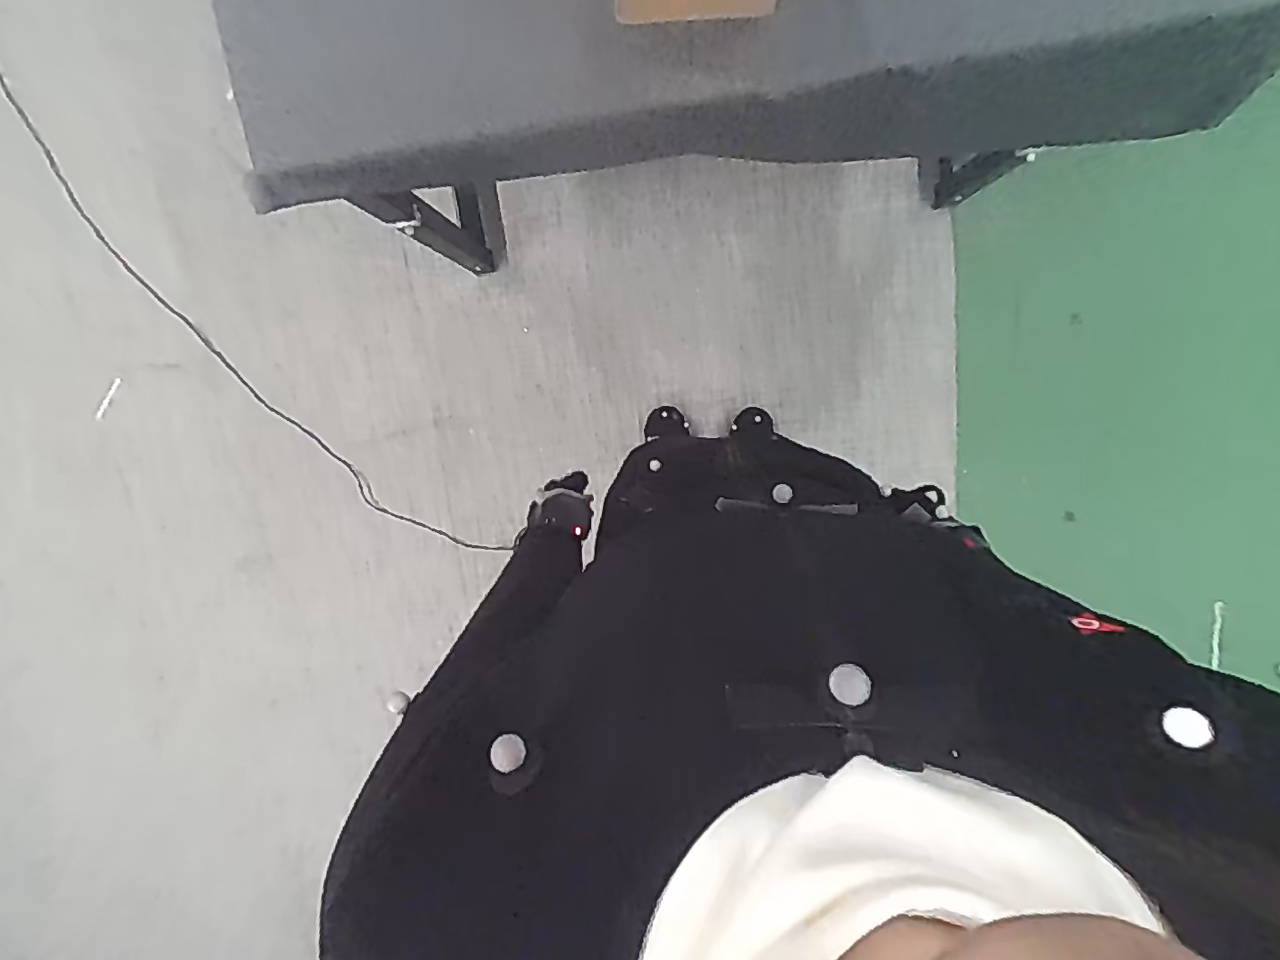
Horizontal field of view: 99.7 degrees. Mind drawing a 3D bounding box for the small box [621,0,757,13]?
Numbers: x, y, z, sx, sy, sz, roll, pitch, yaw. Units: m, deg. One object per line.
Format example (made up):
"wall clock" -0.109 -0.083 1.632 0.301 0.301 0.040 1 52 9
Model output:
"small box" 0.054 -0.594 0.516 0.179 0.176 0.168 -4 98 3
